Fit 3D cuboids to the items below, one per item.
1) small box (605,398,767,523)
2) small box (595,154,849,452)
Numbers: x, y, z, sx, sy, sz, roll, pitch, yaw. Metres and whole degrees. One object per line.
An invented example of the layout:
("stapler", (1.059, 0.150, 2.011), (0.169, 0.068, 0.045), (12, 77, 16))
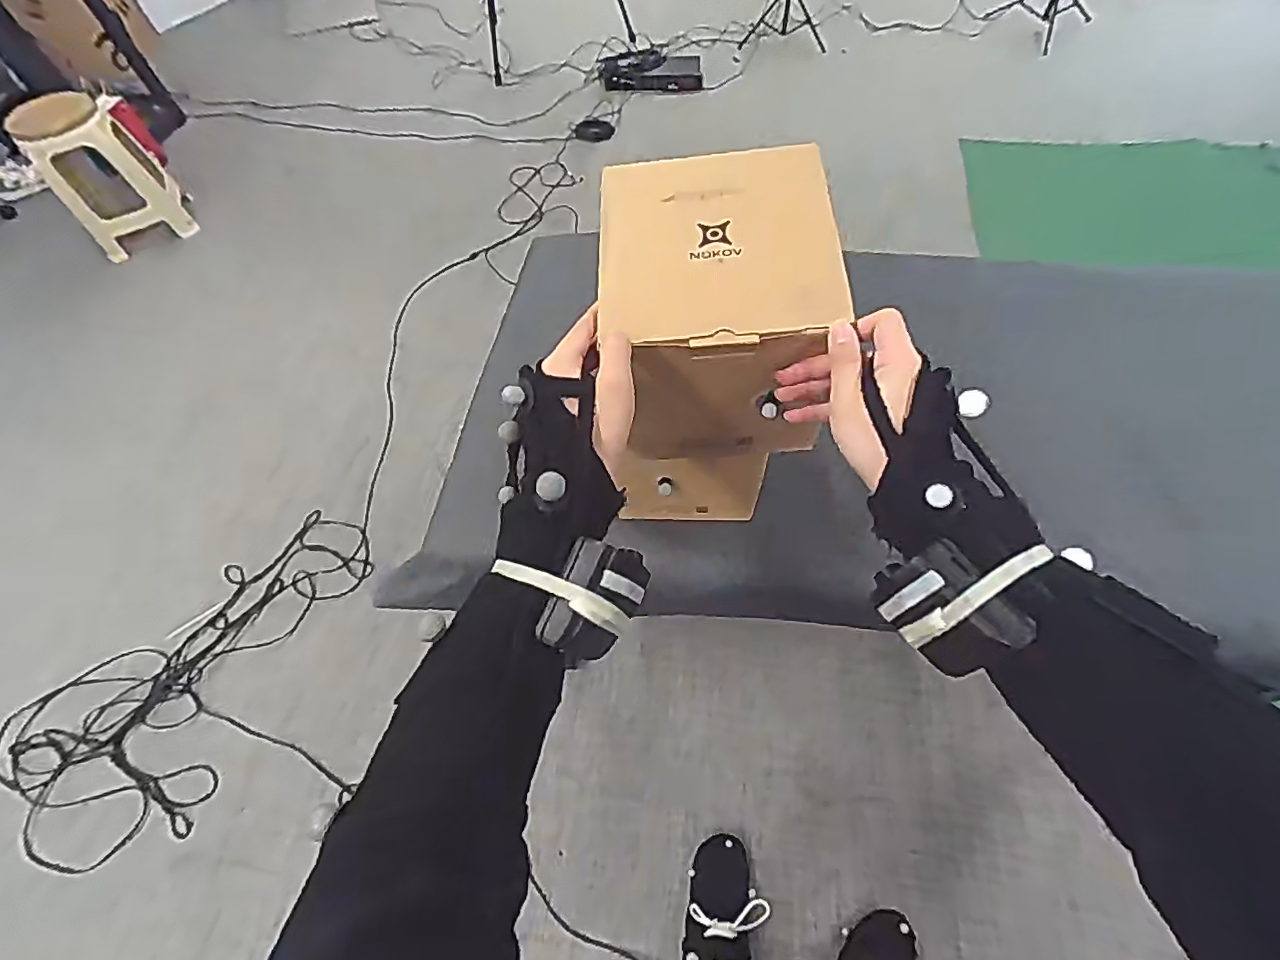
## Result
("small box", (0.055, -0.059, 0.645), (0.168, 0.176, 0.179), (1, 58, 4))
("small box", (0.060, -0.131, 0.453), (0.168, 0.176, 0.179), (-2, 64, 5))
